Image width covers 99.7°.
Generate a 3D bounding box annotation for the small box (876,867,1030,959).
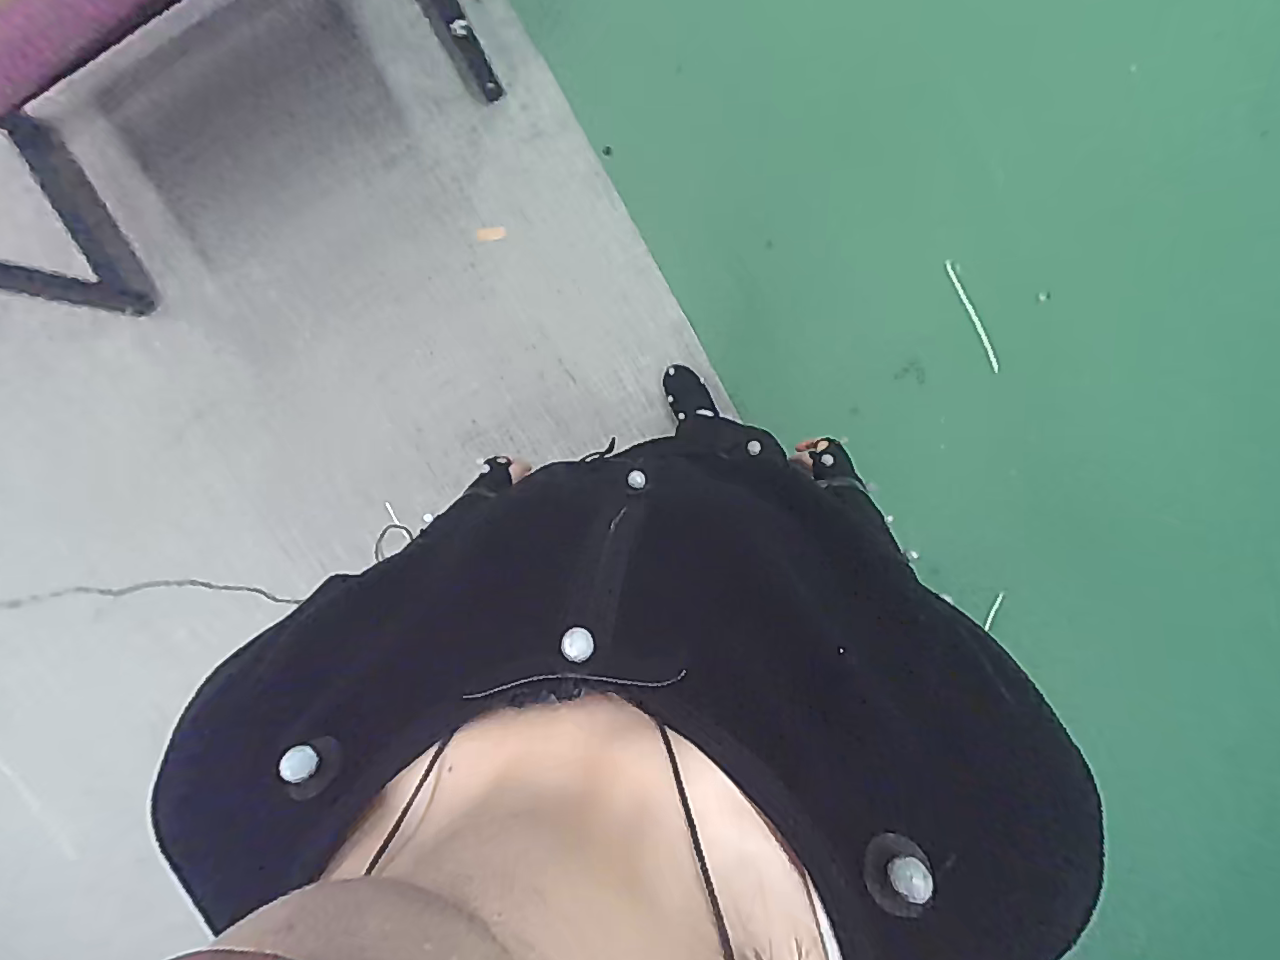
[{"bbox_3d":[0.512,0.763,0.855,0.168,0.176,0.179,-40,92,6],"label":"small box"}]
